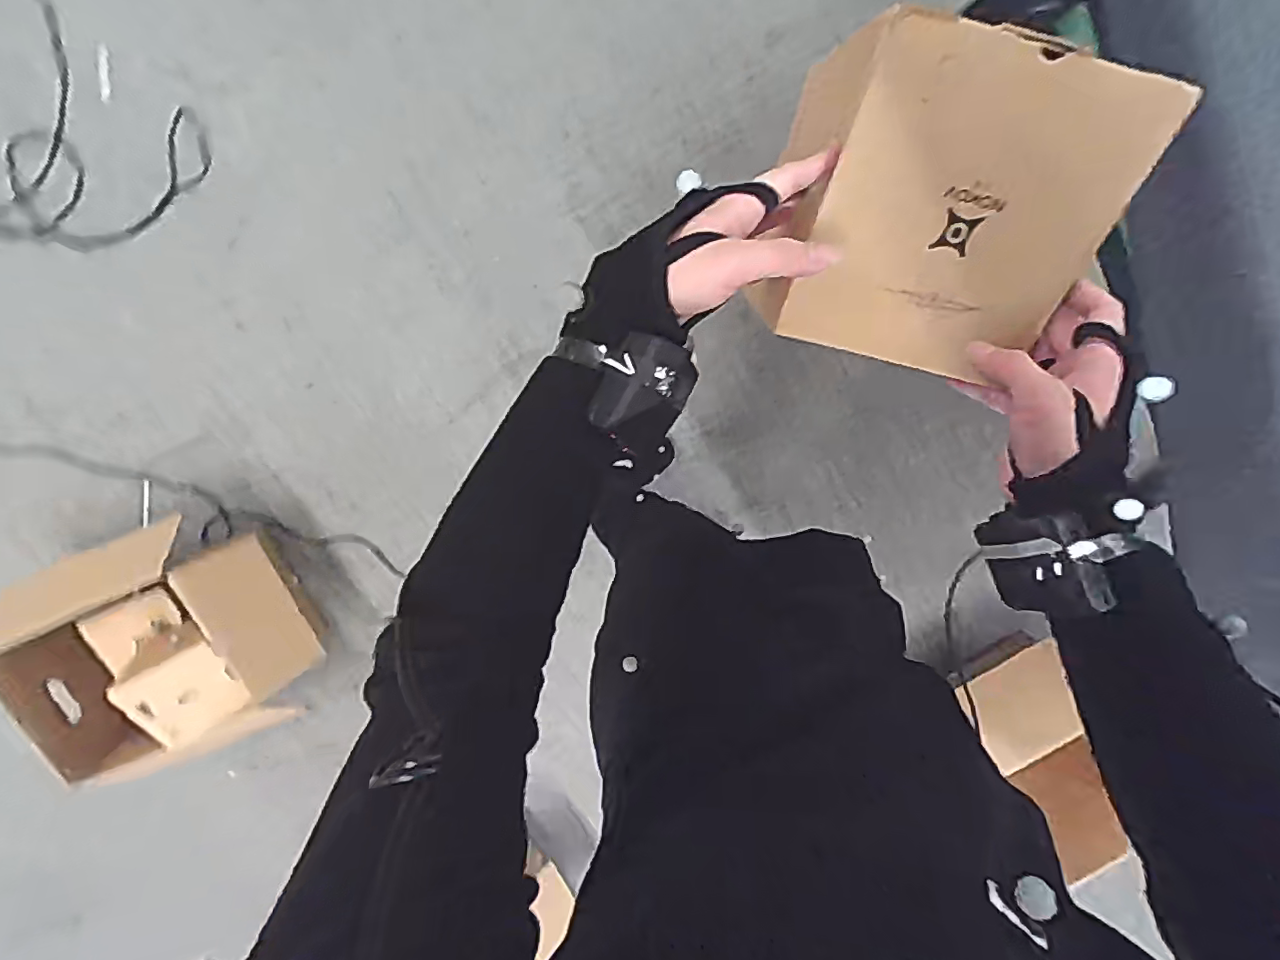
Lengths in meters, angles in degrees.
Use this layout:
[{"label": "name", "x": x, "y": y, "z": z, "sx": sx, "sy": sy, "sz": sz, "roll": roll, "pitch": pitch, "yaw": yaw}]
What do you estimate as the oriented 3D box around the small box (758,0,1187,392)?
[{"label": "small box", "x": 0.196, "y": -0.189, "z": 0.389, "sx": 0.168, "sy": 0.176, "sz": 0.179, "roll": 14, "pitch": 118, "yaw": -5}]
